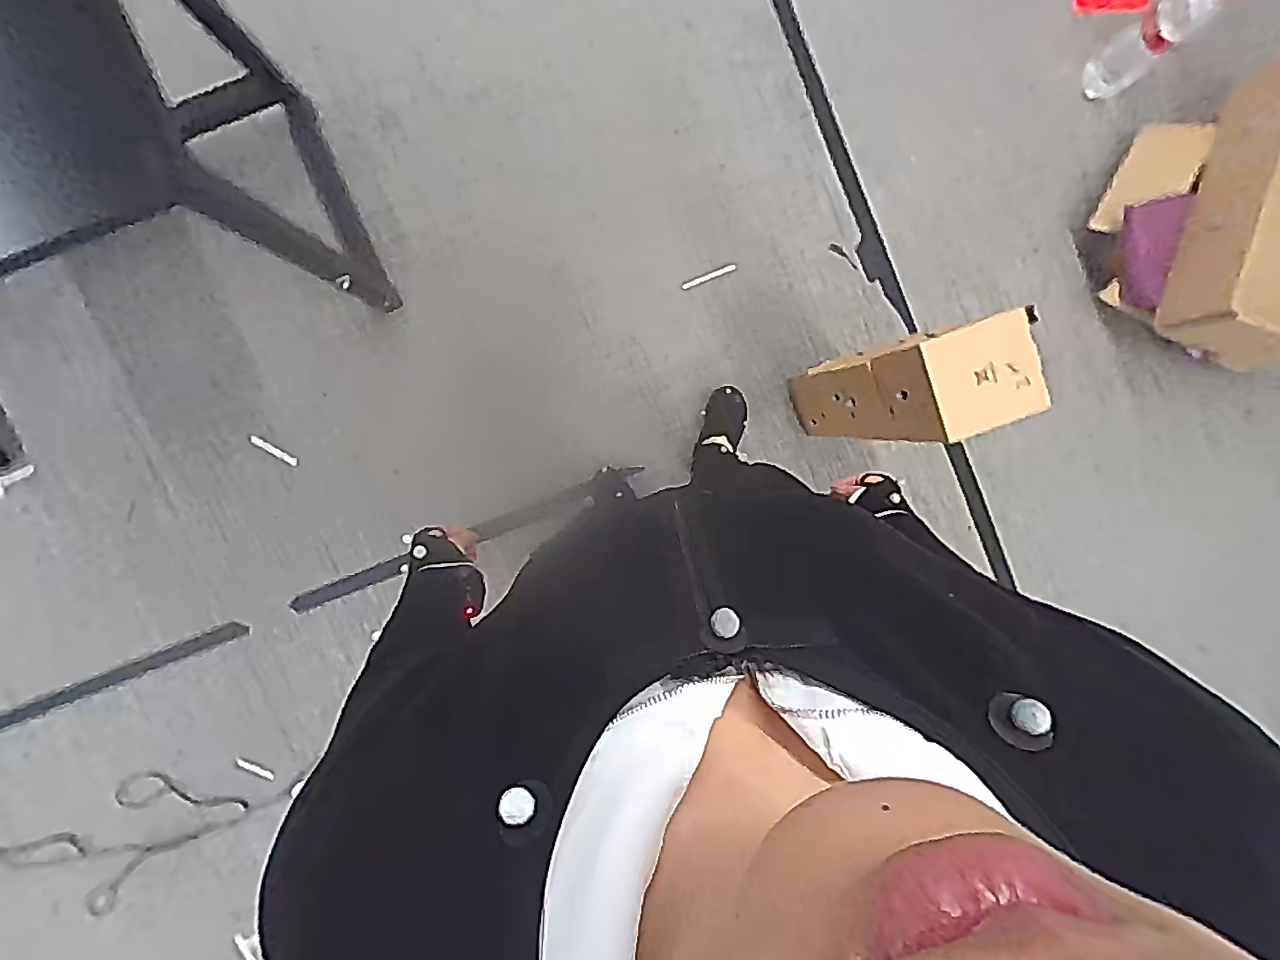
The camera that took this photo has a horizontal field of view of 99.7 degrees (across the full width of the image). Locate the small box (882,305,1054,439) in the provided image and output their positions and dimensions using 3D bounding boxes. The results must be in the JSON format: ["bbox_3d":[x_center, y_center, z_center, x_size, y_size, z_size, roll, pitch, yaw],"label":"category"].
[{"bbox_3d":[0.536,-0.172,0.914,0.179,0.176,0.168,-20,95,0],"label":"small box"}]

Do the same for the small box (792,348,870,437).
[{"bbox_3d":[0.520,-0.220,1.405,0.168,0.176,0.179,-23,93,0],"label":"small box"}]

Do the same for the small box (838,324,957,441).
[{"bbox_3d":[0.529,-0.188,1.078,0.179,0.176,0.168,-24,95,1],"label":"small box"}]

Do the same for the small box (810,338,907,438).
[{"bbox_3d":[0.523,-0.205,1.242,0.179,0.176,0.168,-24,95,0],"label":"small box"}]
